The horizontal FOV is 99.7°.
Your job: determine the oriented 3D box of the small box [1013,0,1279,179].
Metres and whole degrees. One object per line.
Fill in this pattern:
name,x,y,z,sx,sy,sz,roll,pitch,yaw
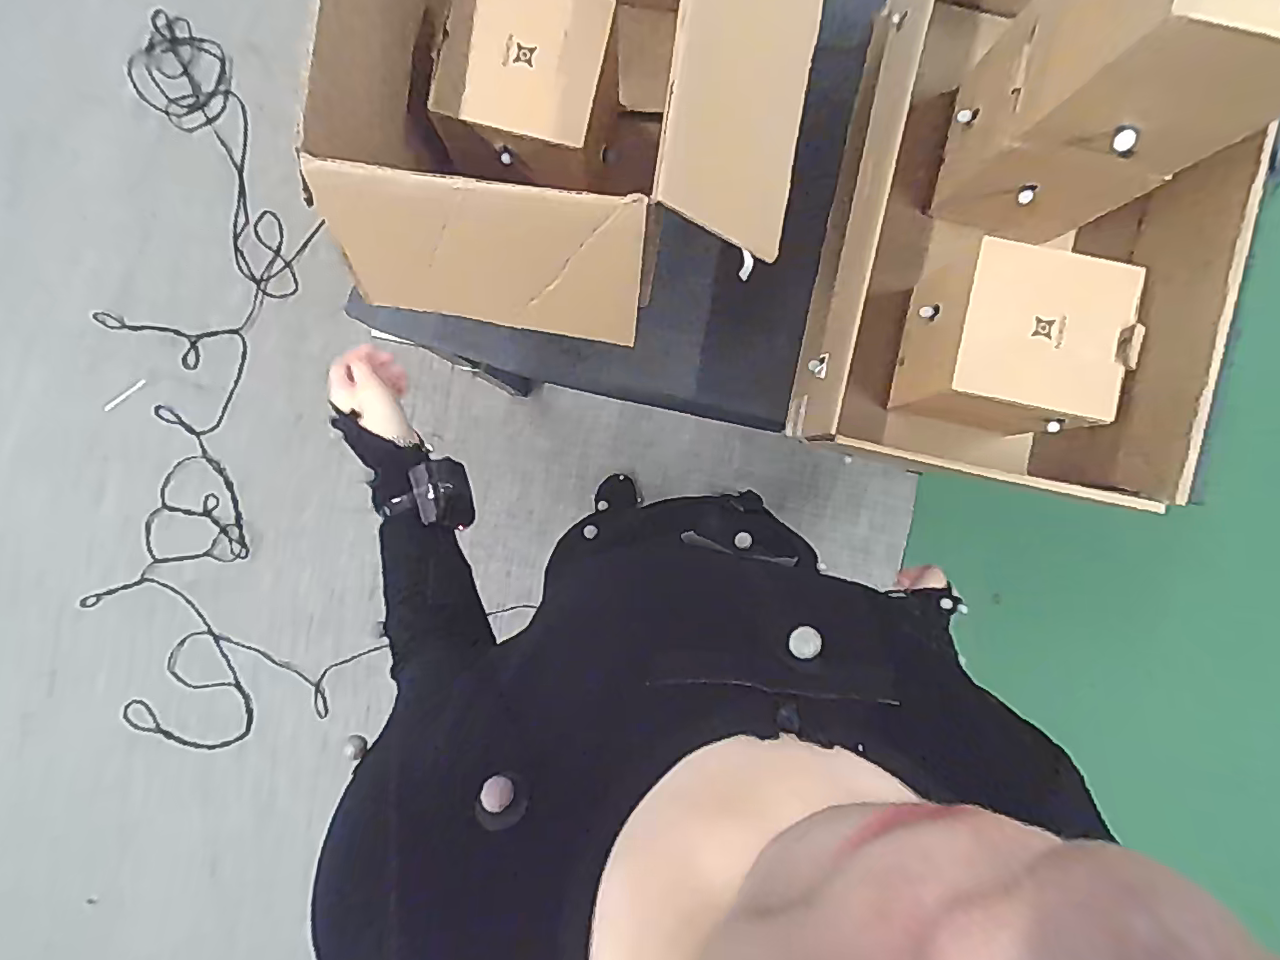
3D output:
small box,0.475,-0.407,0.476,0.168,0.176,0.179,13,94,-1
